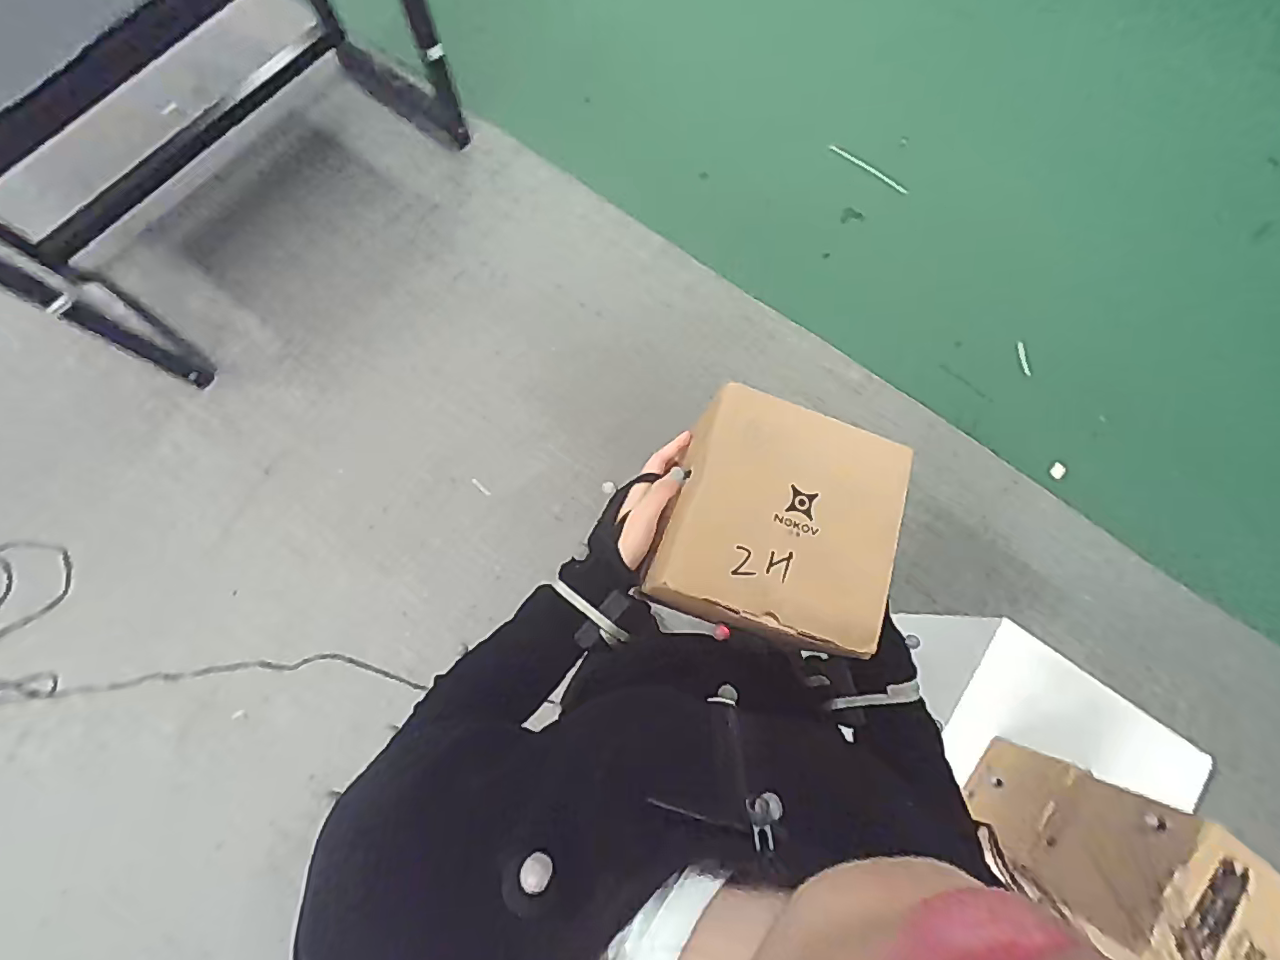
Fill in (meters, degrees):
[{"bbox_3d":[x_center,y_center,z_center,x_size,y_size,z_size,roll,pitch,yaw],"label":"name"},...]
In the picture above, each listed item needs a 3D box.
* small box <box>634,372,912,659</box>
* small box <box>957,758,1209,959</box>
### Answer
[{"bbox_3d":[0.101,0.041,0.471,0.168,0.176,0.179,19,73,-3],"label":"small box"},{"bbox_3d":[0.598,0.524,0.752,0.179,0.176,0.168,39,77,7],"label":"small box"}]
